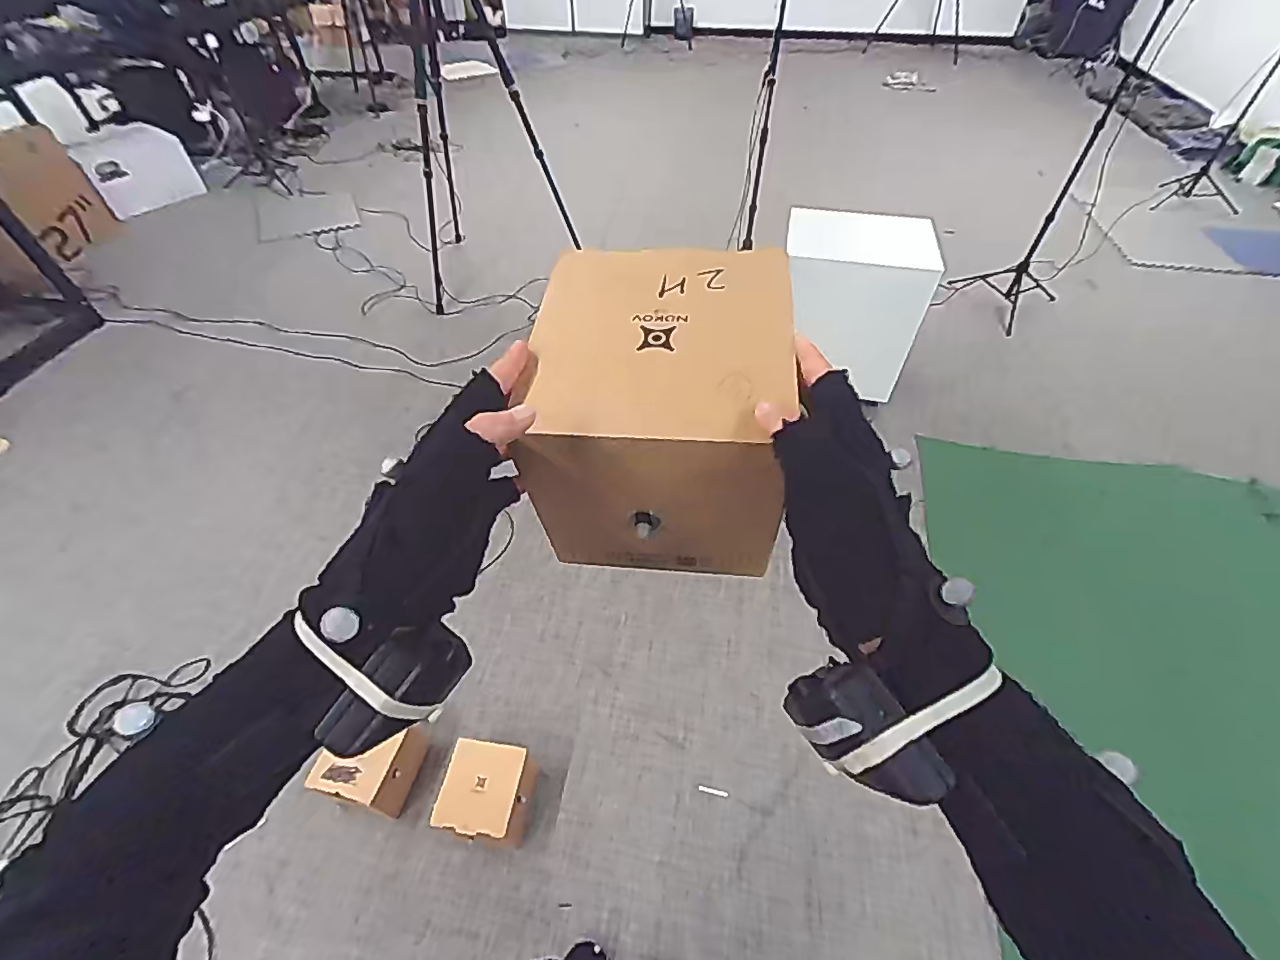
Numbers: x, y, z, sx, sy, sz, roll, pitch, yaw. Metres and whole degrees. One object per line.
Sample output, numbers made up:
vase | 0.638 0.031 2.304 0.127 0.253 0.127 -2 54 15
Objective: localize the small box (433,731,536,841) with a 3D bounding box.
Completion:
small box | -0.345 0.703 1.241 0.168 0.176 0.179 6 50 6

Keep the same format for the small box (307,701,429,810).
small box | -0.629 0.656 1.280 0.168 0.176 0.179 10 49 9
